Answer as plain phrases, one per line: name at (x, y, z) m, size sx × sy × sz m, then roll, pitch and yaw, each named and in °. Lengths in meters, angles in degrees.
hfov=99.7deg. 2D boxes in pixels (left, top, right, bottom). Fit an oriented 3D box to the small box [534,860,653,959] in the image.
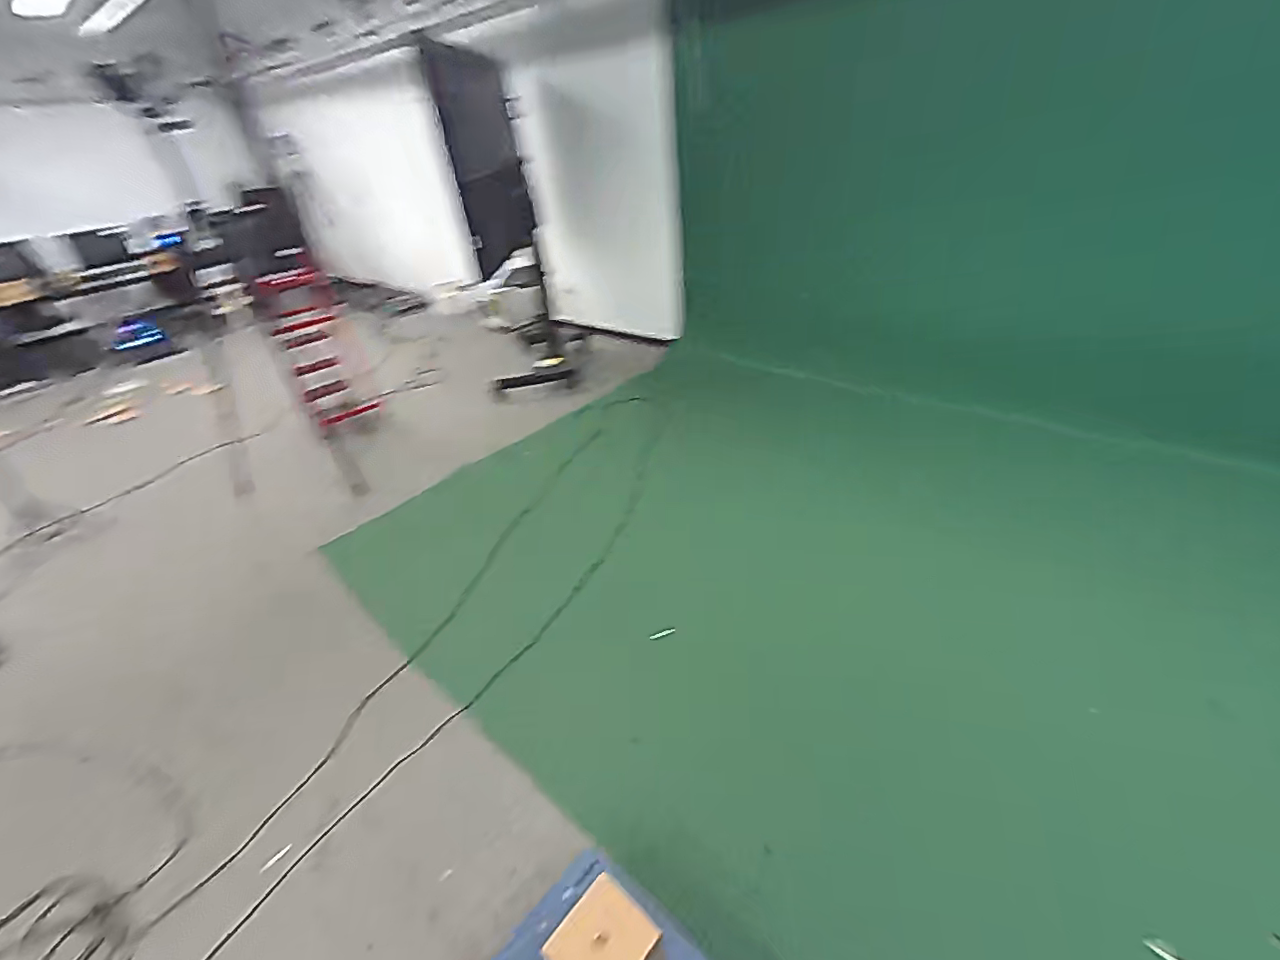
small box at (-0.087, 0.950, 1.115) m, size 0.168 × 0.176 × 0.179 m, roll 25°, pitch 46°, yaw 36°
